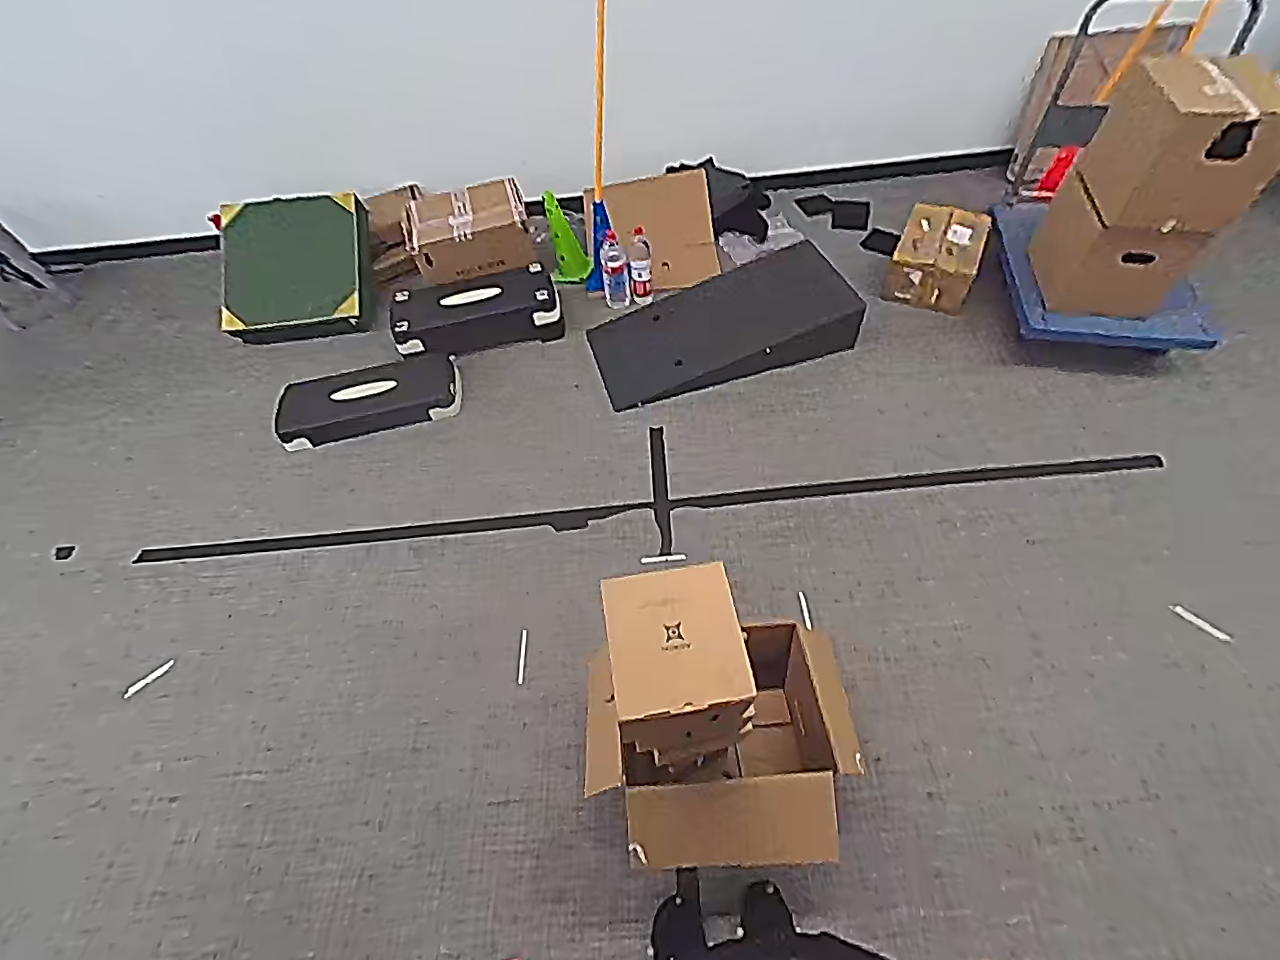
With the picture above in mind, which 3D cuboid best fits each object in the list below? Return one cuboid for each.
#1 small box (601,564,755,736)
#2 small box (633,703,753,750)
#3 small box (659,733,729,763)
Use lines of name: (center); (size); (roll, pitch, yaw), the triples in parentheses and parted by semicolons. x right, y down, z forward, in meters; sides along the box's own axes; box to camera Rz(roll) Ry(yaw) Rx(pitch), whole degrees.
small box: (0.043, 0.235, 0.726); (0.168, 0.176, 0.179); (-8, 57, -5)
small box: (0.065, 0.321, 0.864); (0.179, 0.176, 0.168); (-9, 58, -5)
small box: (0.100, 0.479, 1.152); (0.179, 0.176, 0.168); (-21, 59, -13)
